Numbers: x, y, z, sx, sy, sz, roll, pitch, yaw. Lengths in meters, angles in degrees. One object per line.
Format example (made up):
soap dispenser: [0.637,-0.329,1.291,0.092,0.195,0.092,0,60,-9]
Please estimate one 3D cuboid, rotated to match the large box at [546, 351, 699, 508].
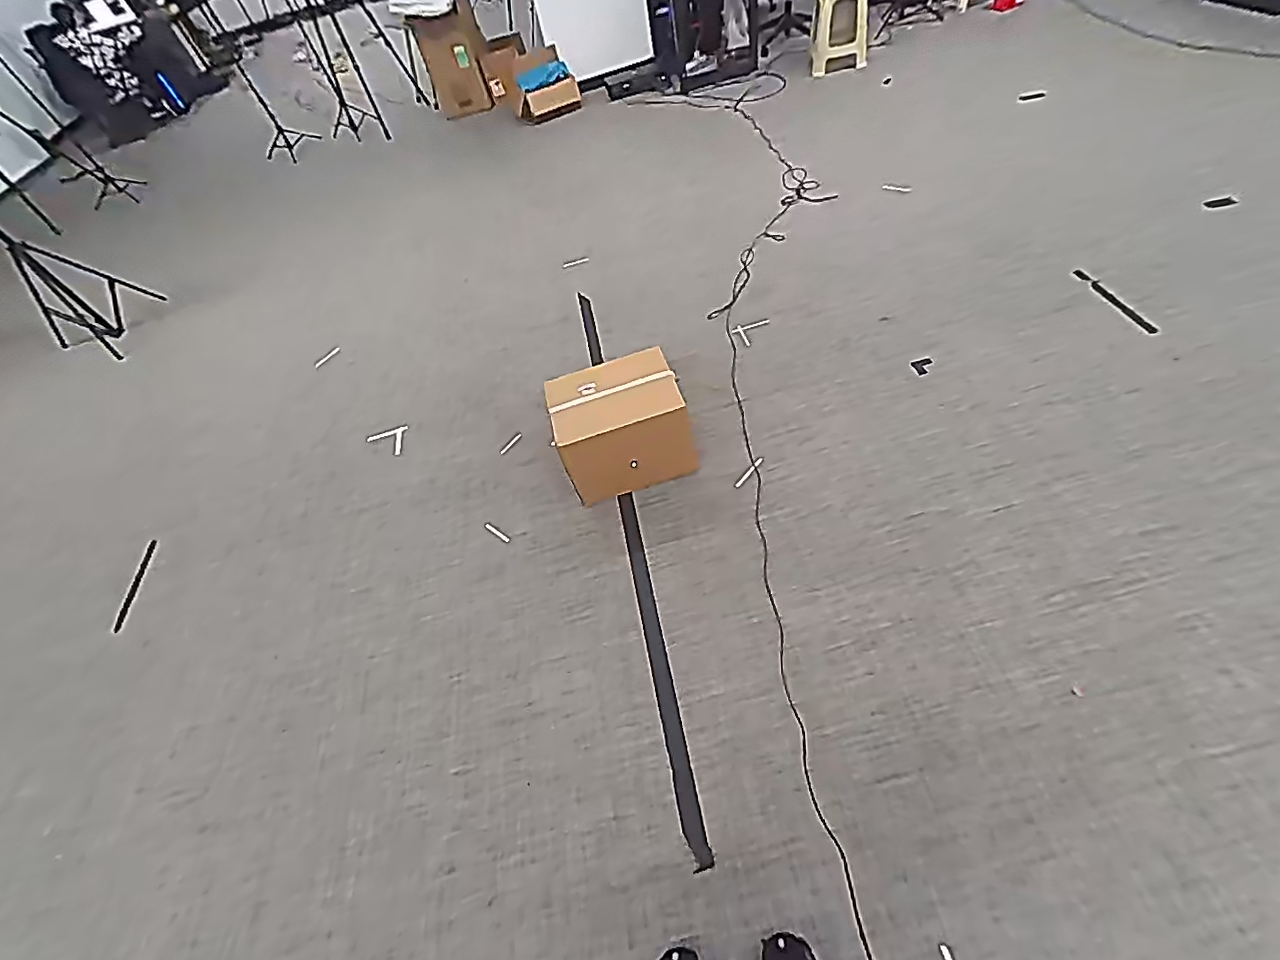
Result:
large box: [-0.054,-0.163,1.796,0.408,0.320,0.320,-18,49,1]
